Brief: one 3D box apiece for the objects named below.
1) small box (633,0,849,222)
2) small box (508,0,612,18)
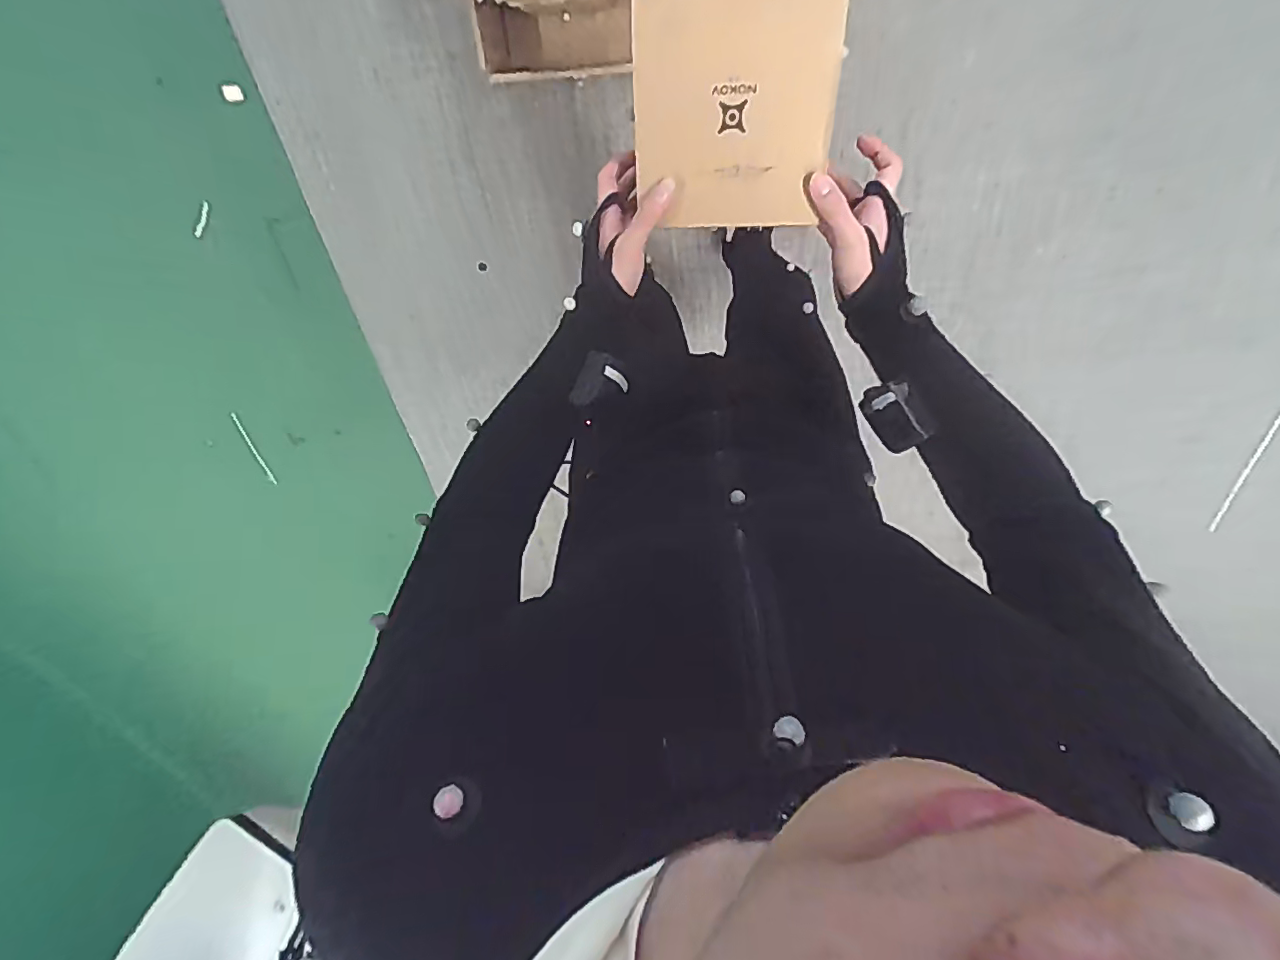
[{"bbox_3d":[0.086,-0.346,0.508,0.168,0.176,0.179,3,121,8],"label":"small box"},{"bbox_3d":[-0.147,-0.960,0.972,0.168,0.176,0.179,3,125,8],"label":"small box"}]
